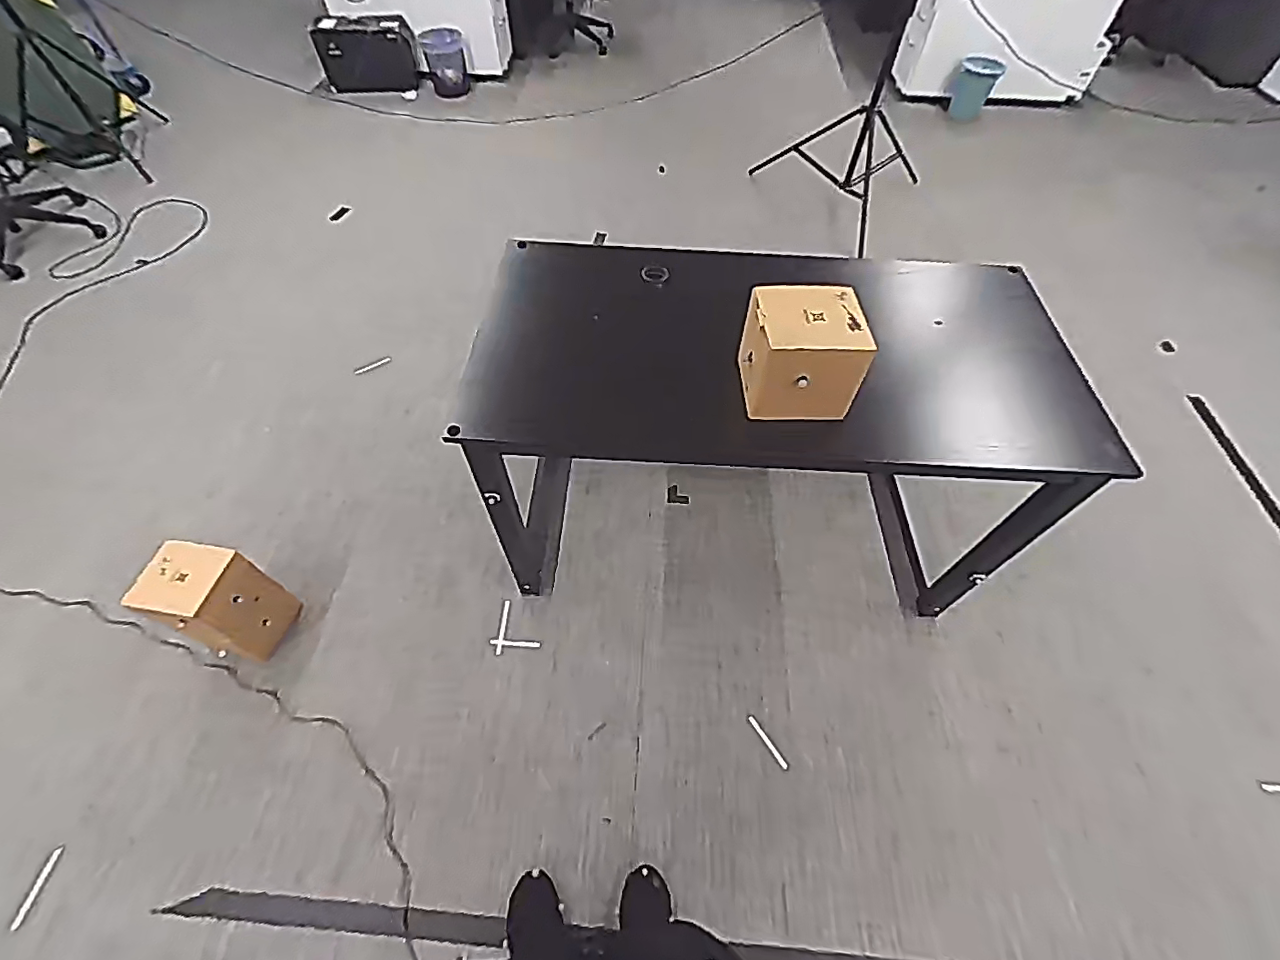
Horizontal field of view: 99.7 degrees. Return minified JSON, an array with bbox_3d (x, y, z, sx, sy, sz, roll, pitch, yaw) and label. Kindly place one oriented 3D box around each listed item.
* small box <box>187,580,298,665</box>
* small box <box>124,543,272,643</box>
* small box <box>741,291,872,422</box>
[{"bbox_3d":[-1.042,0.362,1.419,0.168,0.176,0.179,10,56,6],"label":"small box"},{"bbox_3d":[-1.029,0.272,1.281,0.179,0.176,0.168,8,54,4],"label":"small box"},{"bbox_3d":[0.283,-0.217,0.969,0.179,0.176,0.168,-1,54,-1],"label":"small box"}]
